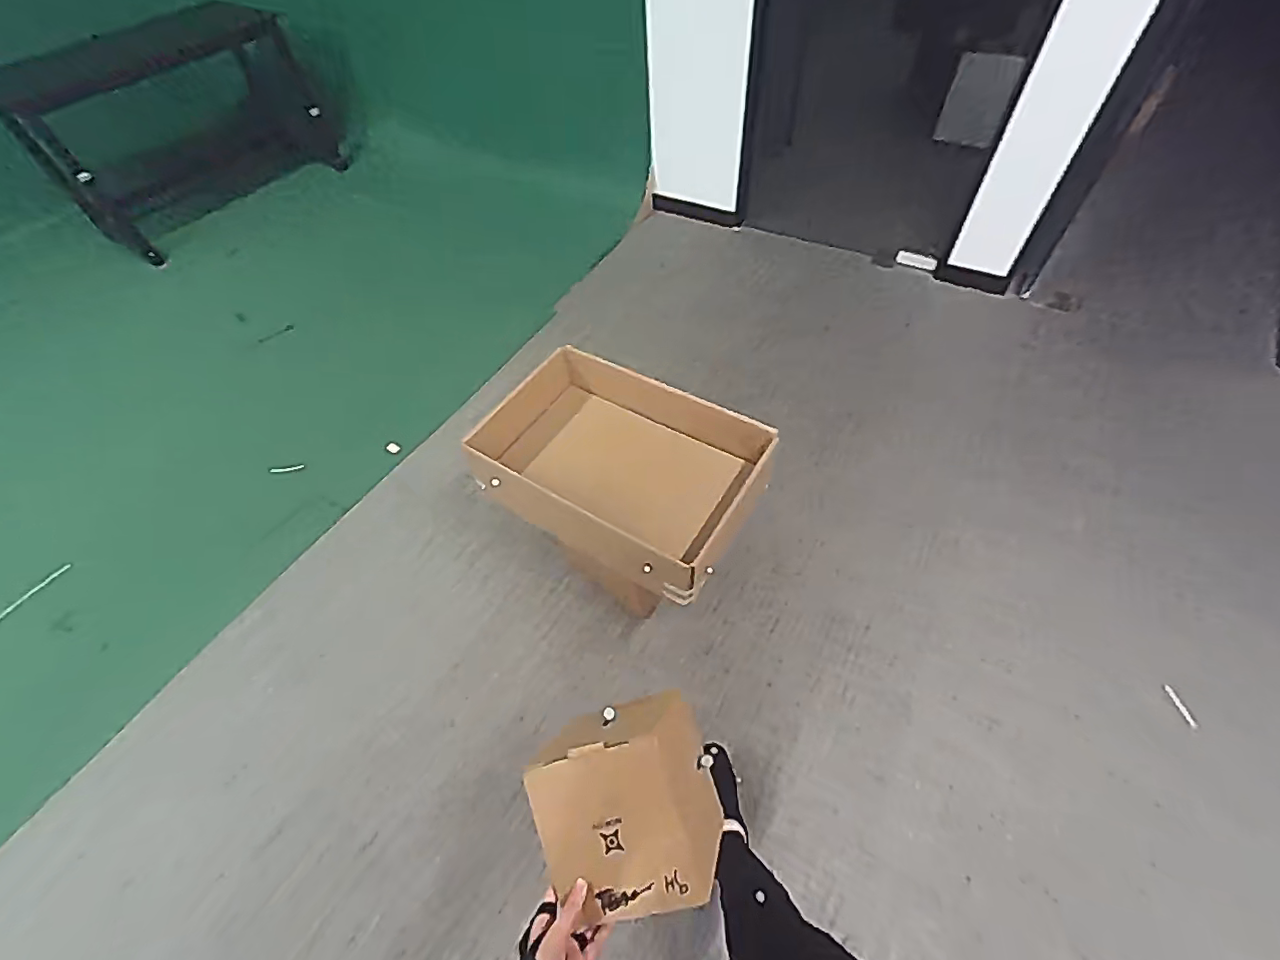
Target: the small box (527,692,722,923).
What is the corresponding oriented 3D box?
[{"bbox_3d":[-0.009,0.375,0.654,0.168,0.176,0.179,-20,81,12],"label":"small box"}]
